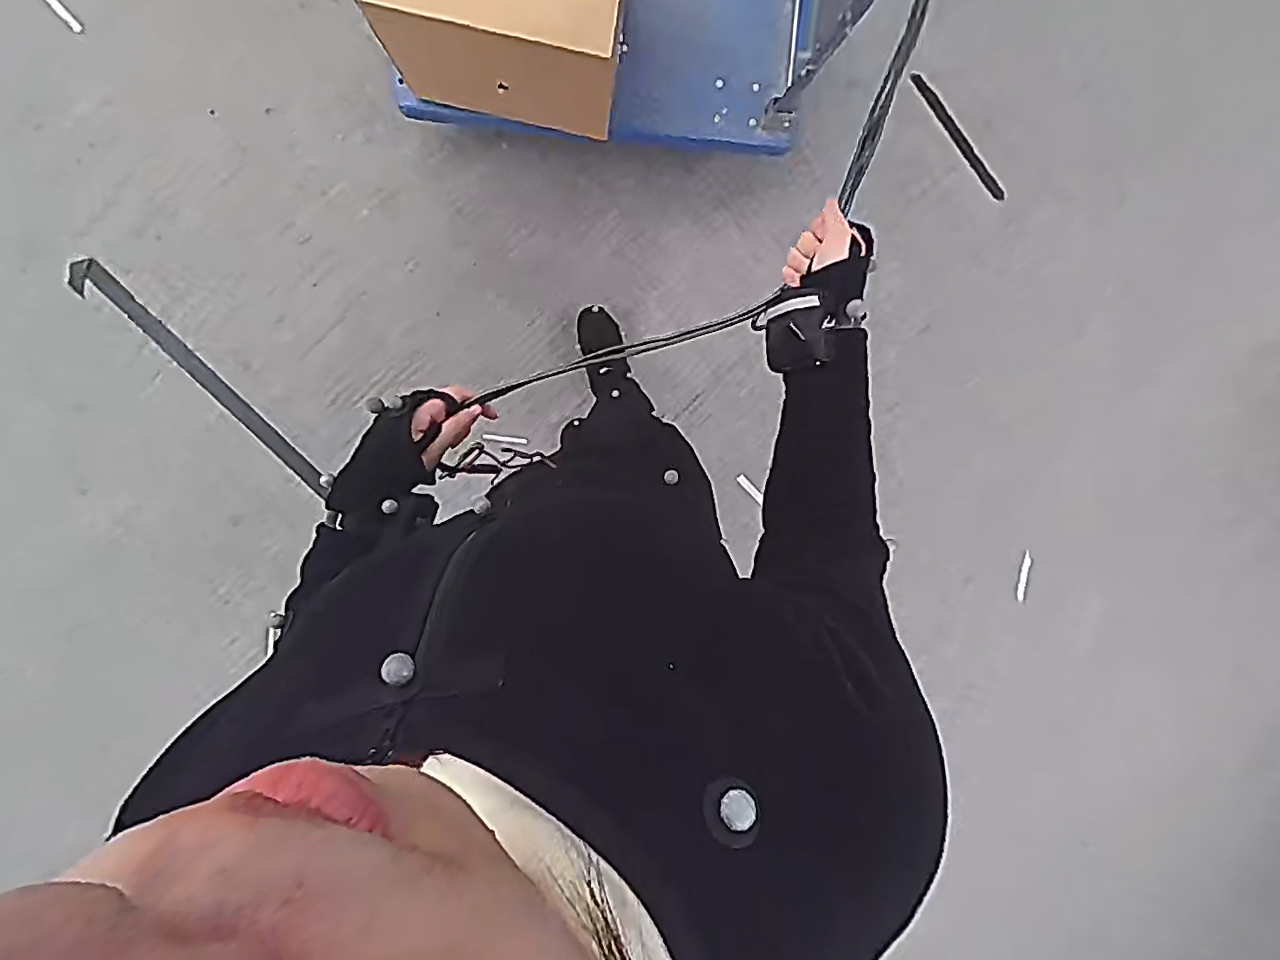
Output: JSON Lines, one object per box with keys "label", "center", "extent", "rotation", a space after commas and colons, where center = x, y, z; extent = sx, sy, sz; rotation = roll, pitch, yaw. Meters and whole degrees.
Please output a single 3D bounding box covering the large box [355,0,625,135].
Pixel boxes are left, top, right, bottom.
{"label": "large box", "center": [-0.230, -0.875, 0.964], "extent": [0.408, 0.320, 0.320], "rotation": [8, 99, -6]}
